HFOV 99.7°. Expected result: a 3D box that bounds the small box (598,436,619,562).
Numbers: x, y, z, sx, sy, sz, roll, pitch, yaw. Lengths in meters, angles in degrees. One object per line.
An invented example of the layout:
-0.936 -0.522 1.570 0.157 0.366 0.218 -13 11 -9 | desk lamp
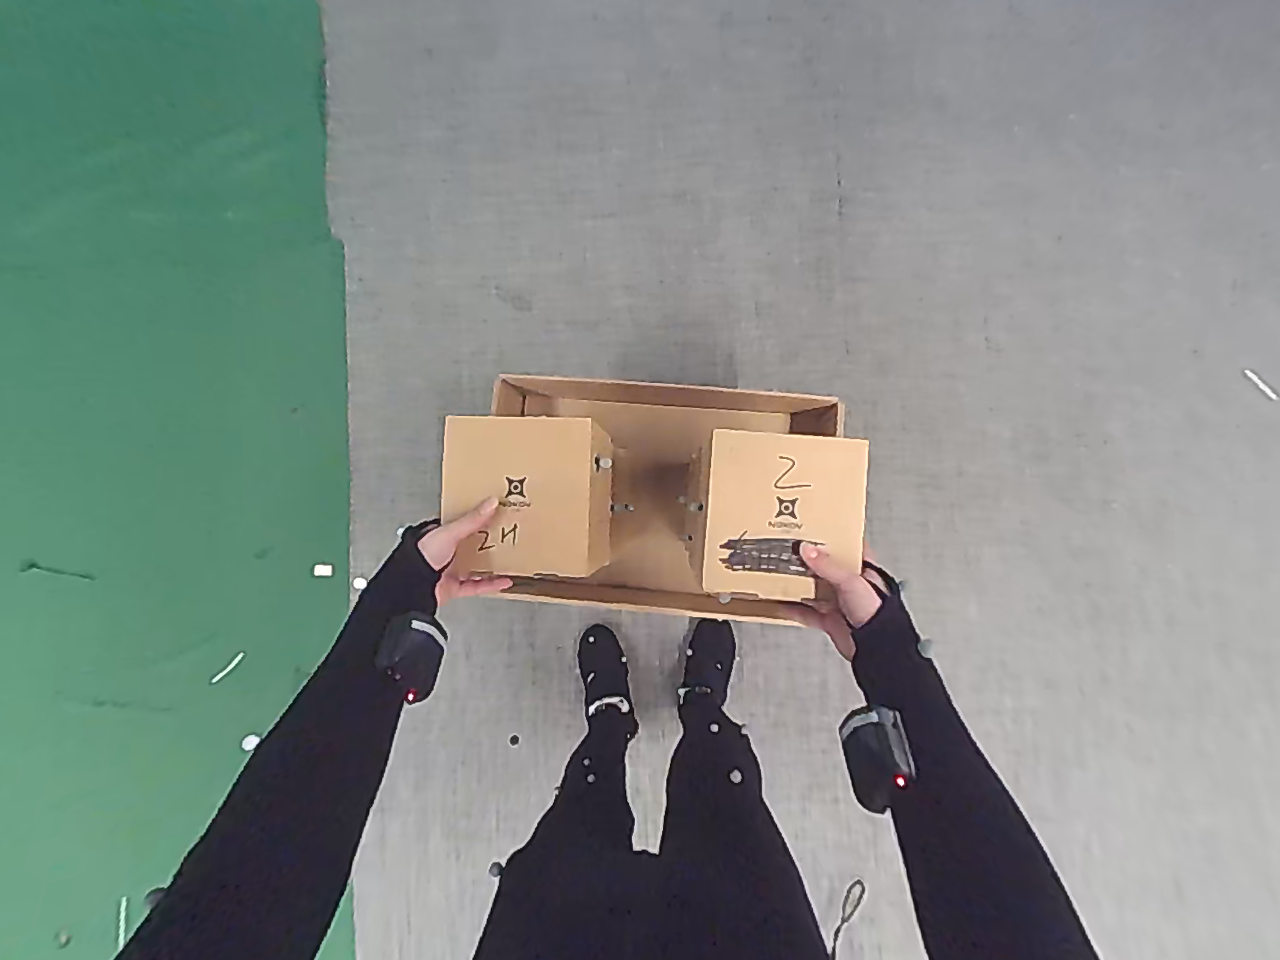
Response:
-0.123 0.029 0.825 0.168 0.176 0.179 1 87 3 | small box

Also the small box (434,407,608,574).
-0.131 0.015 0.661 0.168 0.176 0.179 2 87 4 | small box

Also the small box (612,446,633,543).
-0.108 0.026 0.987 0.179 0.176 0.168 2 87 3 | small box

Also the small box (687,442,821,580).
0.159 0.044 0.801 0.168 0.176 0.179 4 87 3 | small box
